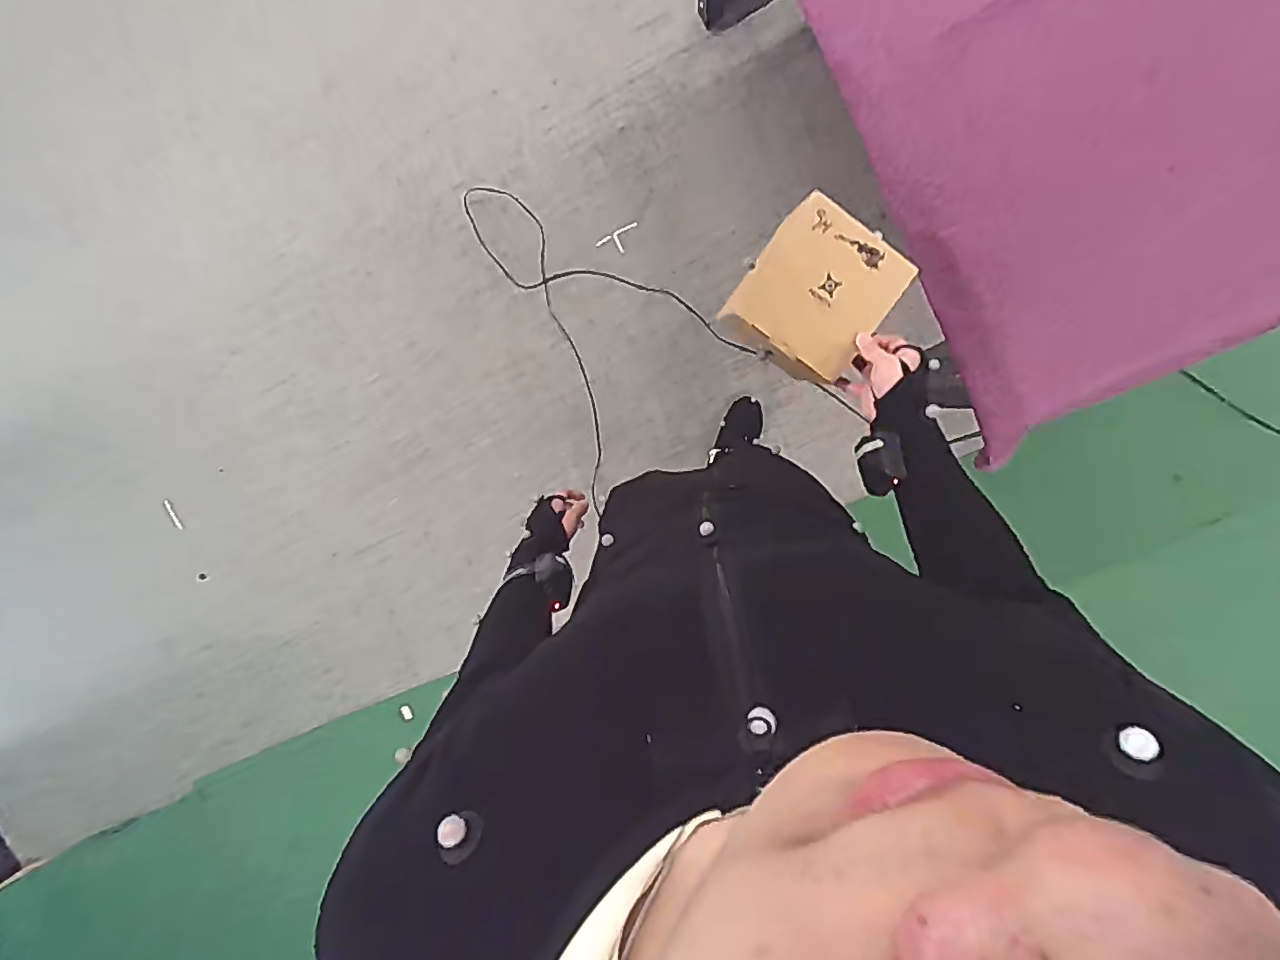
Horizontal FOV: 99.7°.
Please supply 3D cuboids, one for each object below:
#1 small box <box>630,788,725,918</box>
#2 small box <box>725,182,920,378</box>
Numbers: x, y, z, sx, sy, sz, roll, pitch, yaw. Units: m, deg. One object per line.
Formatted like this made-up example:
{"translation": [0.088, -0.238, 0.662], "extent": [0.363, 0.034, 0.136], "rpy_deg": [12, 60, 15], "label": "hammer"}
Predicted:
{"translation": [0.100, 0.918, 1.344], "extent": [0.168, 0.176, 0.179], "rpy_deg": [-31, 91, 11], "label": "small box"}
{"translation": [0.233, -0.261, 0.745], "extent": [0.168, 0.176, 0.179], "rpy_deg": [34, 102, -7], "label": "small box"}
